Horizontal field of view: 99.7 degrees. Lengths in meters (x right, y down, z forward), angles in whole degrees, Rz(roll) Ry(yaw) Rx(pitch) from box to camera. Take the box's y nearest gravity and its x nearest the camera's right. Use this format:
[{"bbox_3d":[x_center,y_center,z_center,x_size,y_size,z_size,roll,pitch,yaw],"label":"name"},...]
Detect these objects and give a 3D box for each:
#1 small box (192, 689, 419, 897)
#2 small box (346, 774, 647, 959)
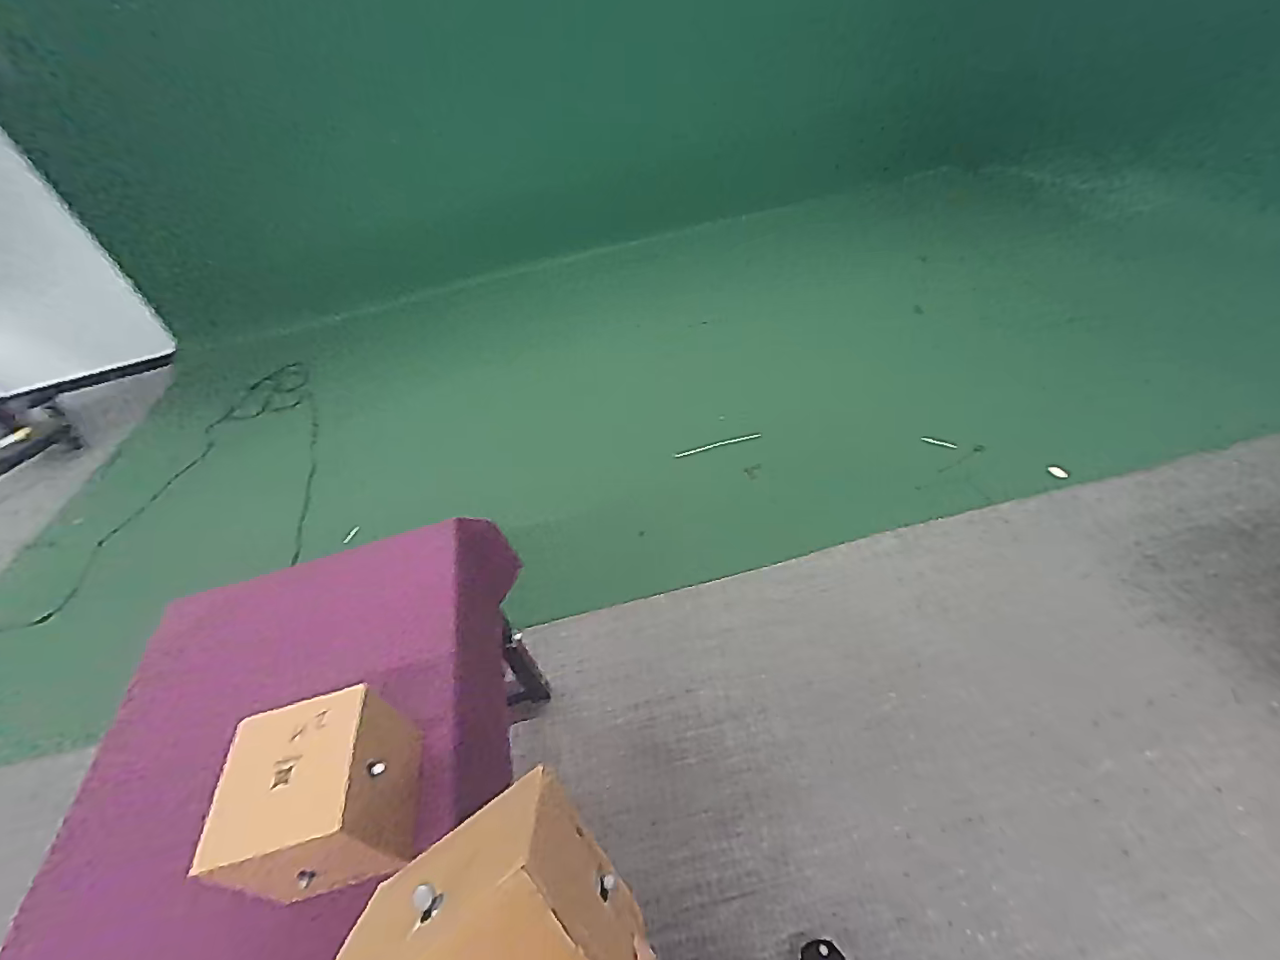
[{"bbox_3d":[-0.403,0.404,0.692,0.168,0.176,0.179,-15,43,-2],"label":"small box"},{"bbox_3d":[-0.101,0.369,0.407,0.179,0.176,0.168,-33,87,-10],"label":"small box"}]
